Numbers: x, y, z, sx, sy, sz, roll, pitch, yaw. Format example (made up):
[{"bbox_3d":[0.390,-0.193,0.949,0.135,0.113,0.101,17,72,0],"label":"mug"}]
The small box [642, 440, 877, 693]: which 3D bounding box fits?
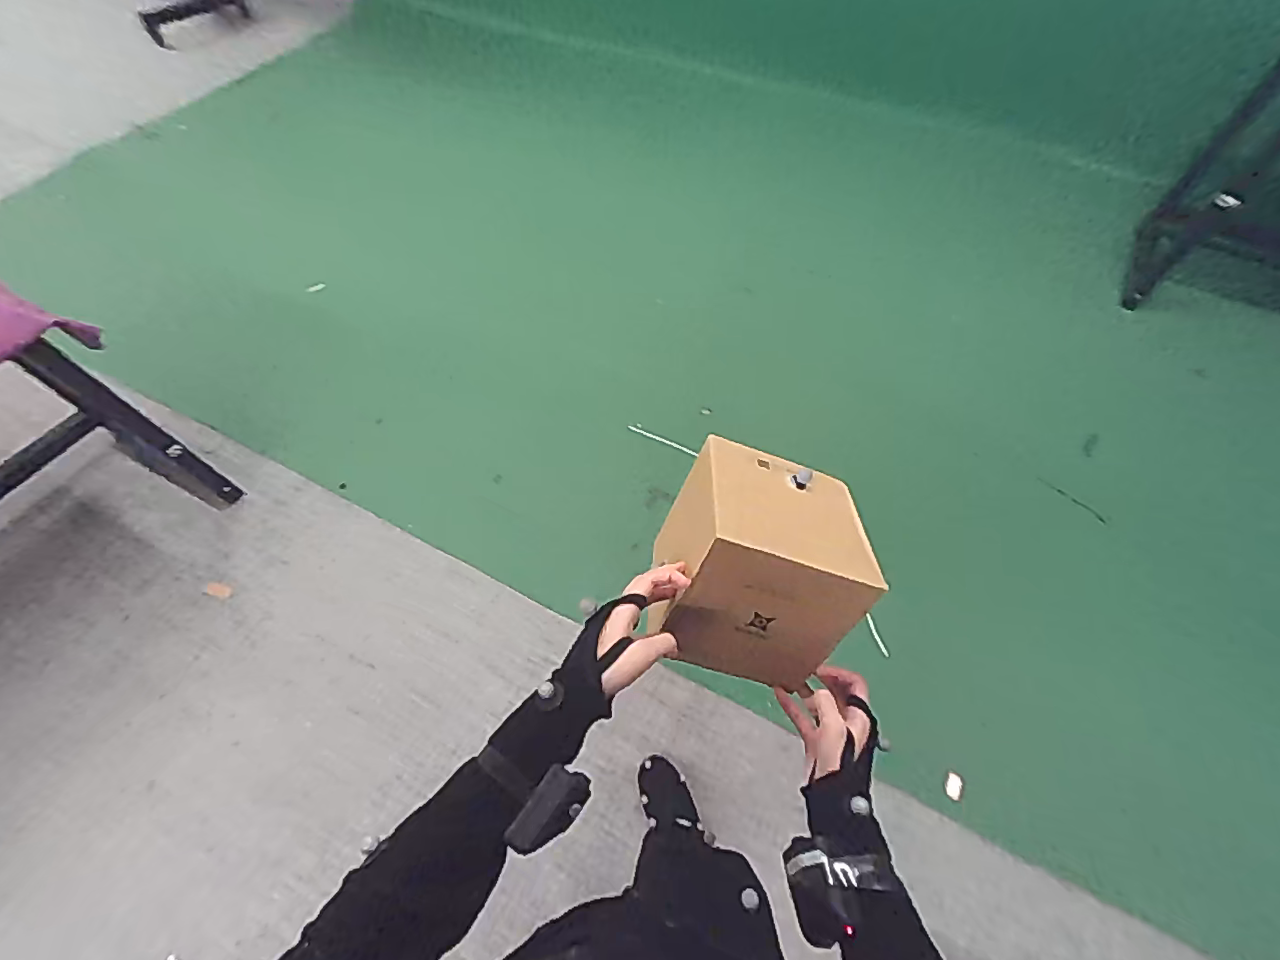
[{"bbox_3d":[0.111,0.089,0.572,0.168,0.179,0.176,17,35,-8],"label":"small box"}]
